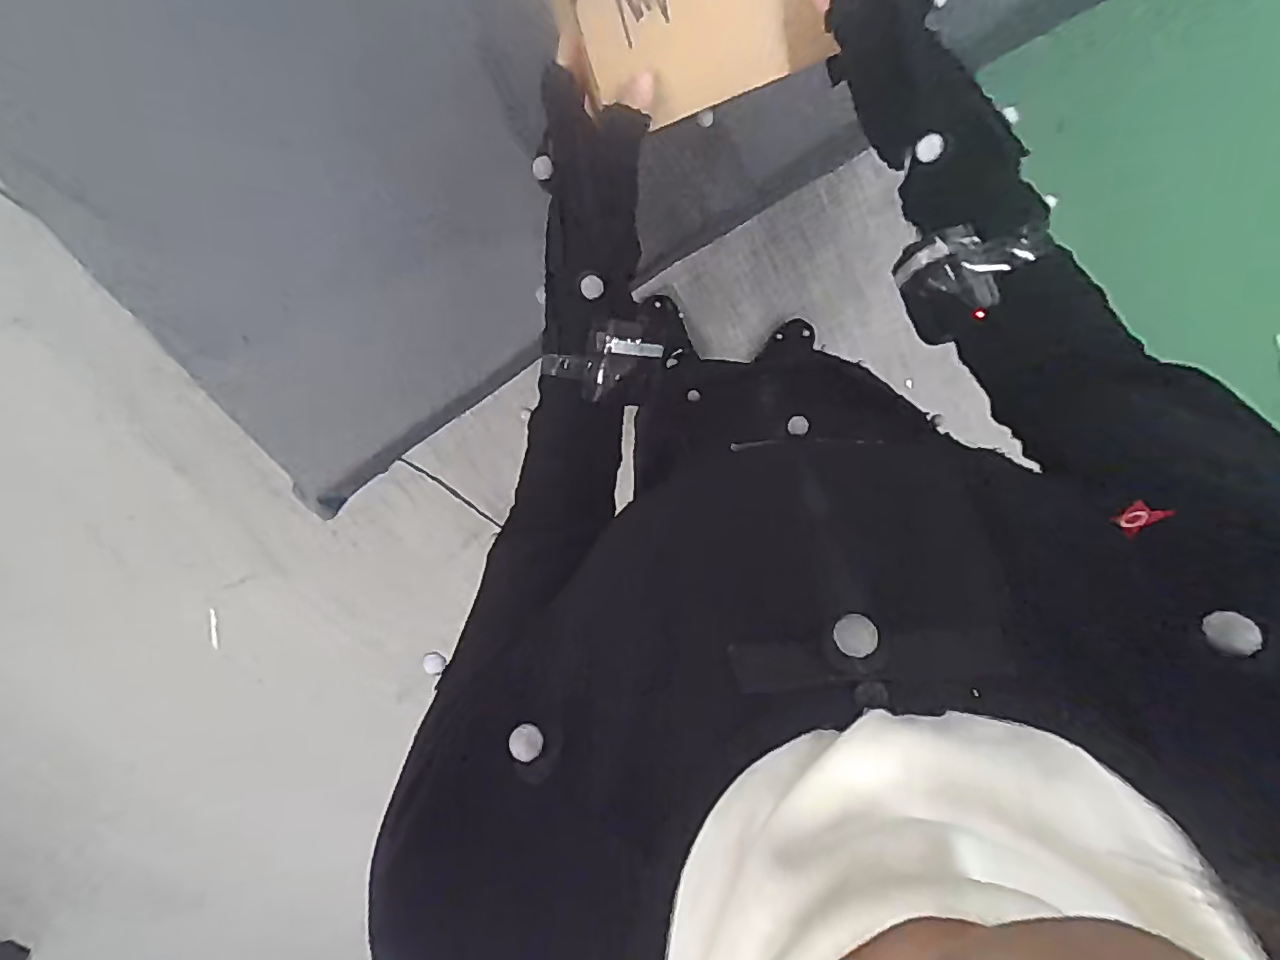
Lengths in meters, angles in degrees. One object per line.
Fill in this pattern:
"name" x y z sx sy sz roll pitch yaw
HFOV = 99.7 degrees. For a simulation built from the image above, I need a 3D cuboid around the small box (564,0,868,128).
"small box" 0.032 -0.364 0.375 0.179 0.176 0.168 -19 125 3
